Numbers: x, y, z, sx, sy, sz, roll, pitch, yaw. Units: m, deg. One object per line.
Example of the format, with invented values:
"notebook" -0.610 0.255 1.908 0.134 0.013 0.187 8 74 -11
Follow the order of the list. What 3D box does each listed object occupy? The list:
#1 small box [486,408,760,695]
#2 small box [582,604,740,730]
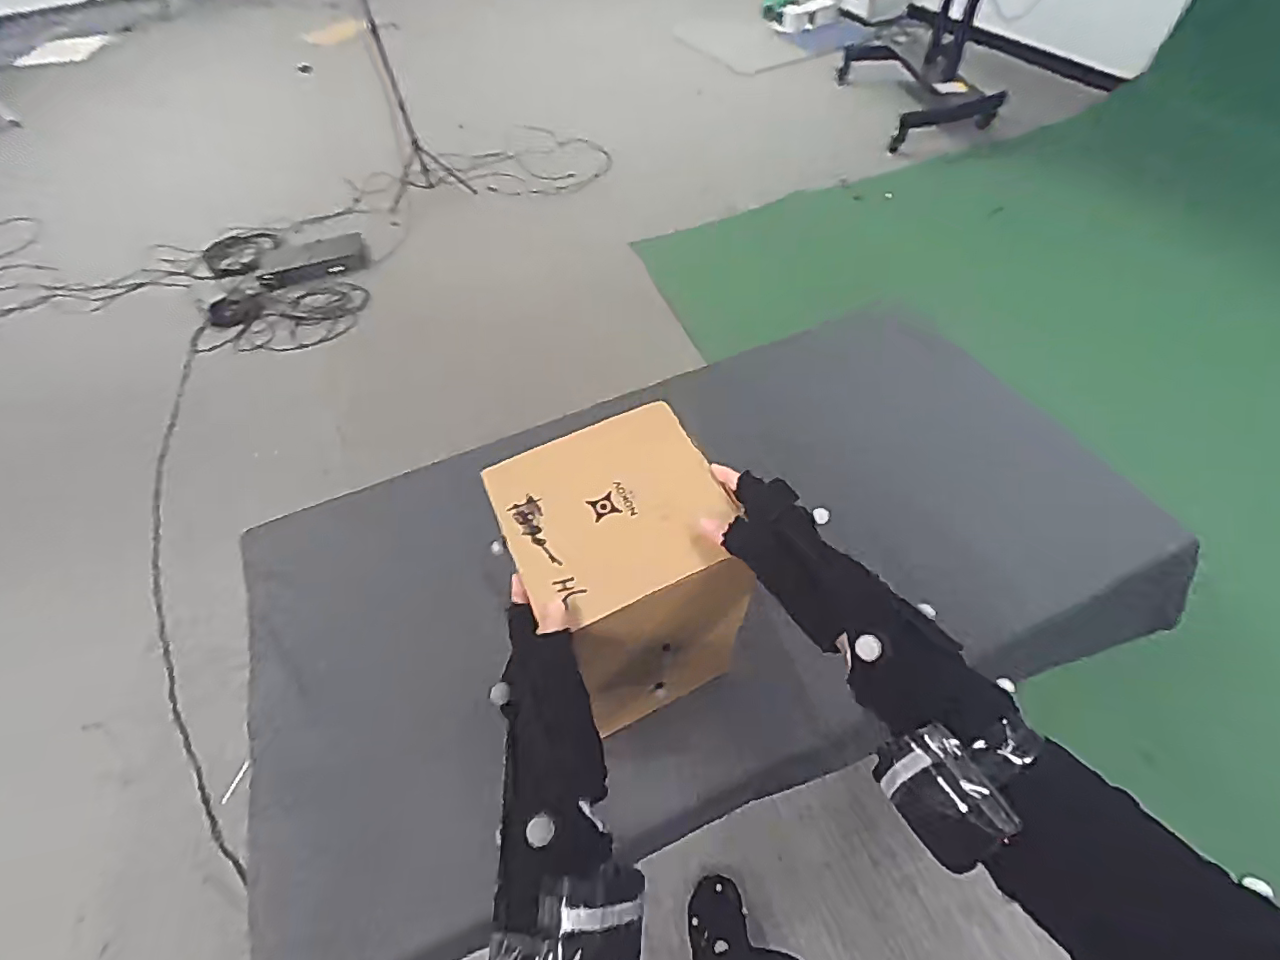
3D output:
"small box" -0.019 0.069 0.494 0.179 0.176 0.168 -21 57 -13
"small box" -0.009 0.162 0.633 0.179 0.176 0.168 -26 57 -15
